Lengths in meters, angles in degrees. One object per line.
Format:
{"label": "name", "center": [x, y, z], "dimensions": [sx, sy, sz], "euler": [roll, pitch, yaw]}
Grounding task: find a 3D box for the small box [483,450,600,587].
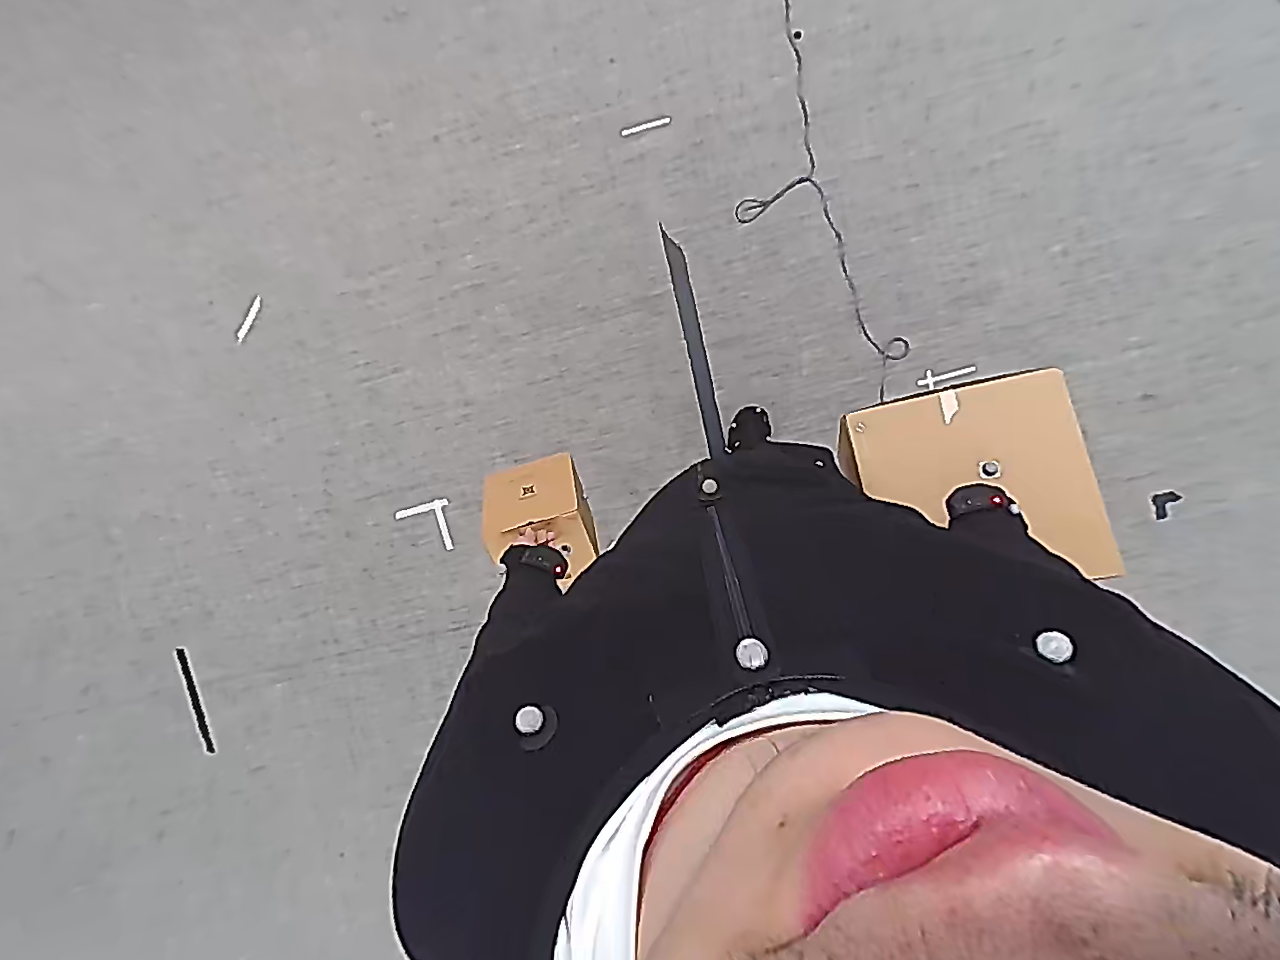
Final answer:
{"label": "small box", "center": [-0.180, 0.077, 1.003], "dimensions": [0.168, 0.179, 0.176], "euler": [-16, 129, -2]}
